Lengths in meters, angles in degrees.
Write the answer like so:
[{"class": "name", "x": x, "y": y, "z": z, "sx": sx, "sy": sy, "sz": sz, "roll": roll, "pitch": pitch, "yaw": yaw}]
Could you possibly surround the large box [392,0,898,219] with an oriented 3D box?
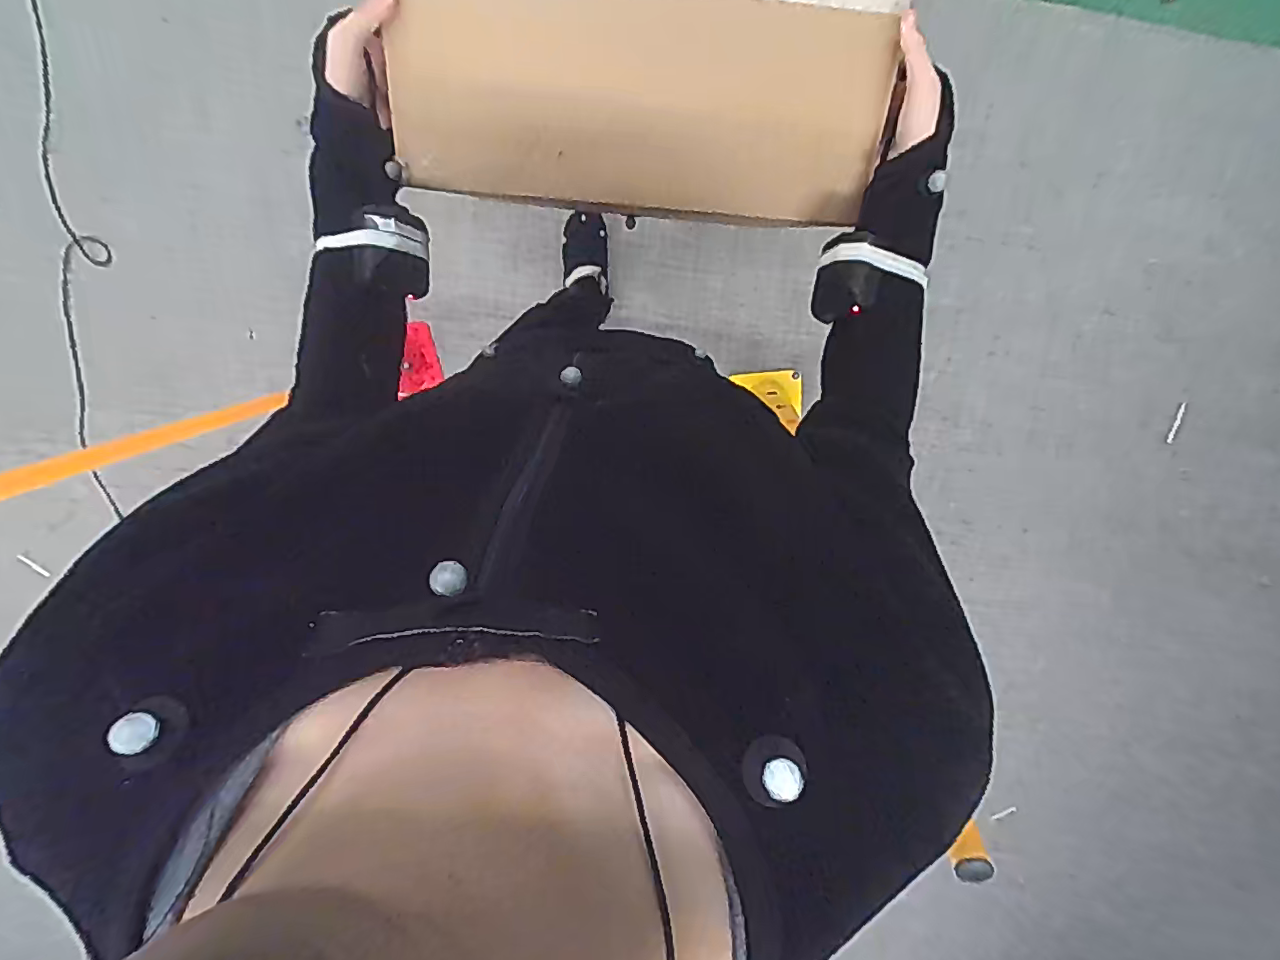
[{"class": "large box", "x": 0.005, "y": -0.451, "z": 0.551, "sx": 0.408, "sy": 0.320, "sz": 0.320, "roll": 3, "pitch": 114, "yaw": -4}]
